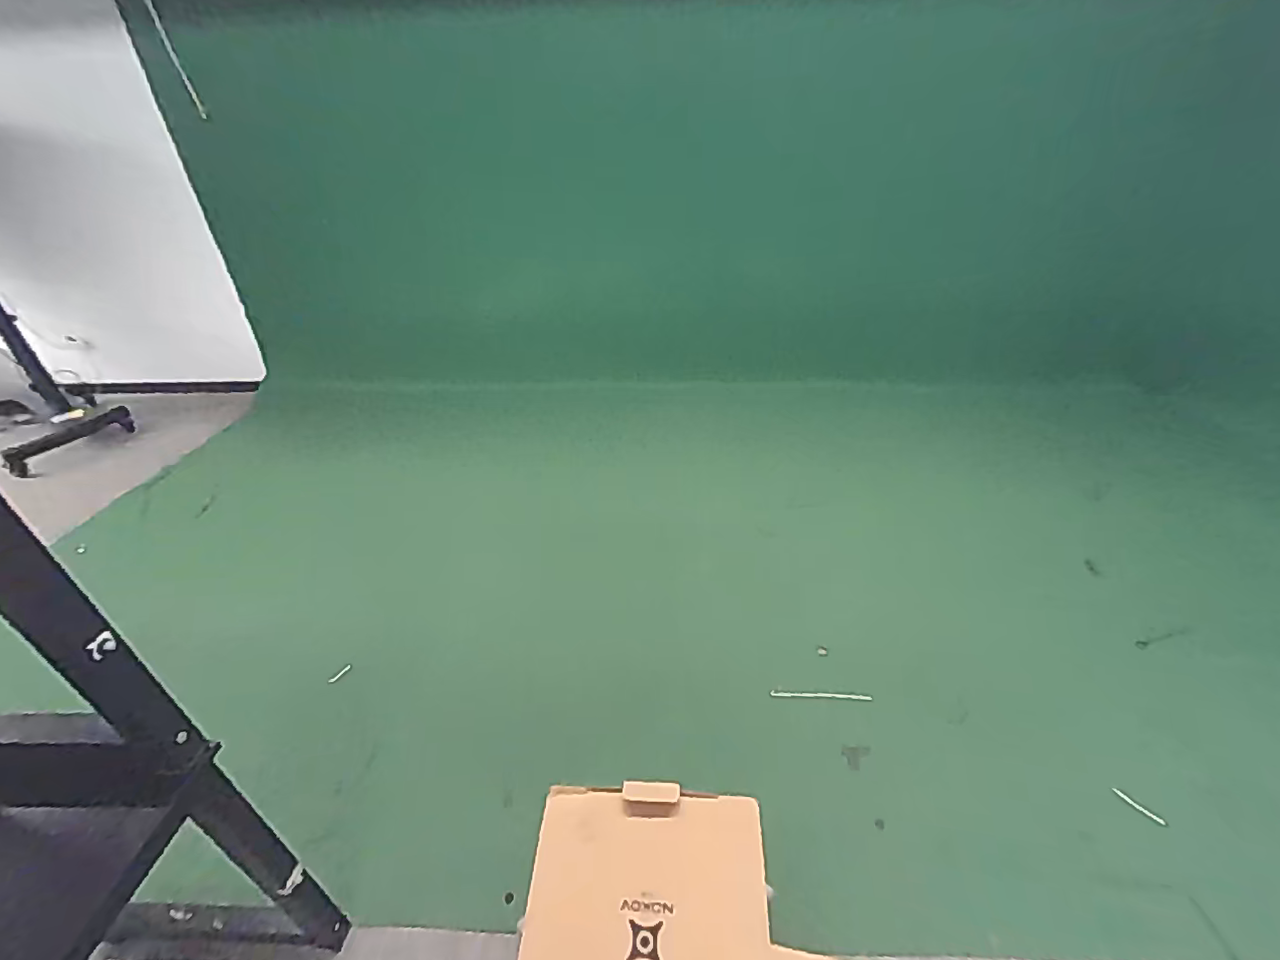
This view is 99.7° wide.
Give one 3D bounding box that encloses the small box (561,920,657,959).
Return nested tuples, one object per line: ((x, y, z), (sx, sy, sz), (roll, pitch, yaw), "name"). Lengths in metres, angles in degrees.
((-0.054, 0.919, 0.956), (0.168, 0.176, 0.179), (-1, 32, 3), "small box")

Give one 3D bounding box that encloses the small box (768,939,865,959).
((0.271, 0.817, 0.787), (0.179, 0.176, 0.168), (5, 35, 10), "small box")
